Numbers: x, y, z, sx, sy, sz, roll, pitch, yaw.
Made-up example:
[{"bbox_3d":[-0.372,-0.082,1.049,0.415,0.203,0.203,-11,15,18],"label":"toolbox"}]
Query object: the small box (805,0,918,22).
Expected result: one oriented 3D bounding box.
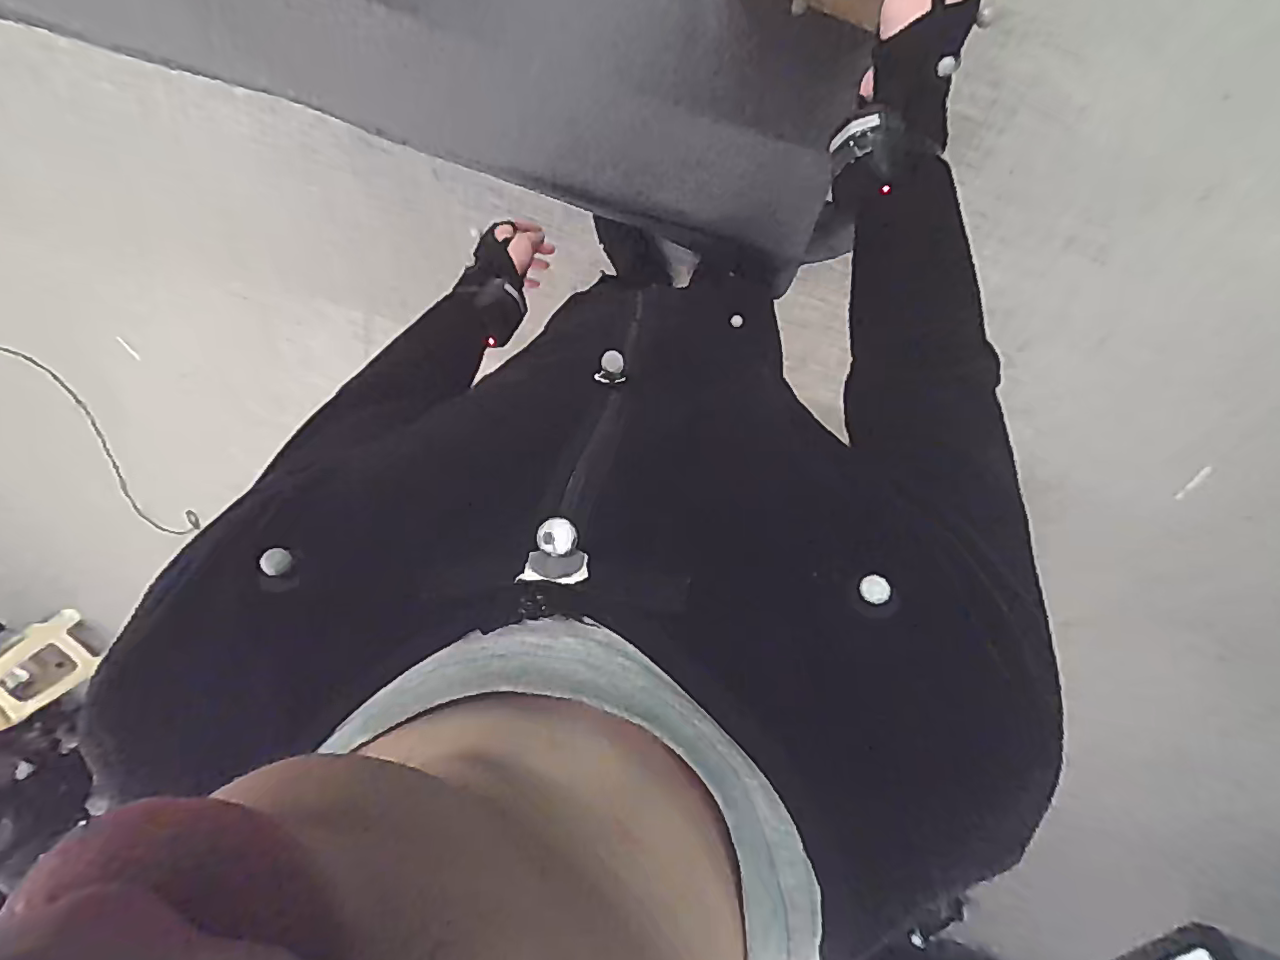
[{"bbox_3d":[0.182,-0.511,0.438,0.179,0.176,0.168,22,122,-2],"label":"small box"}]
